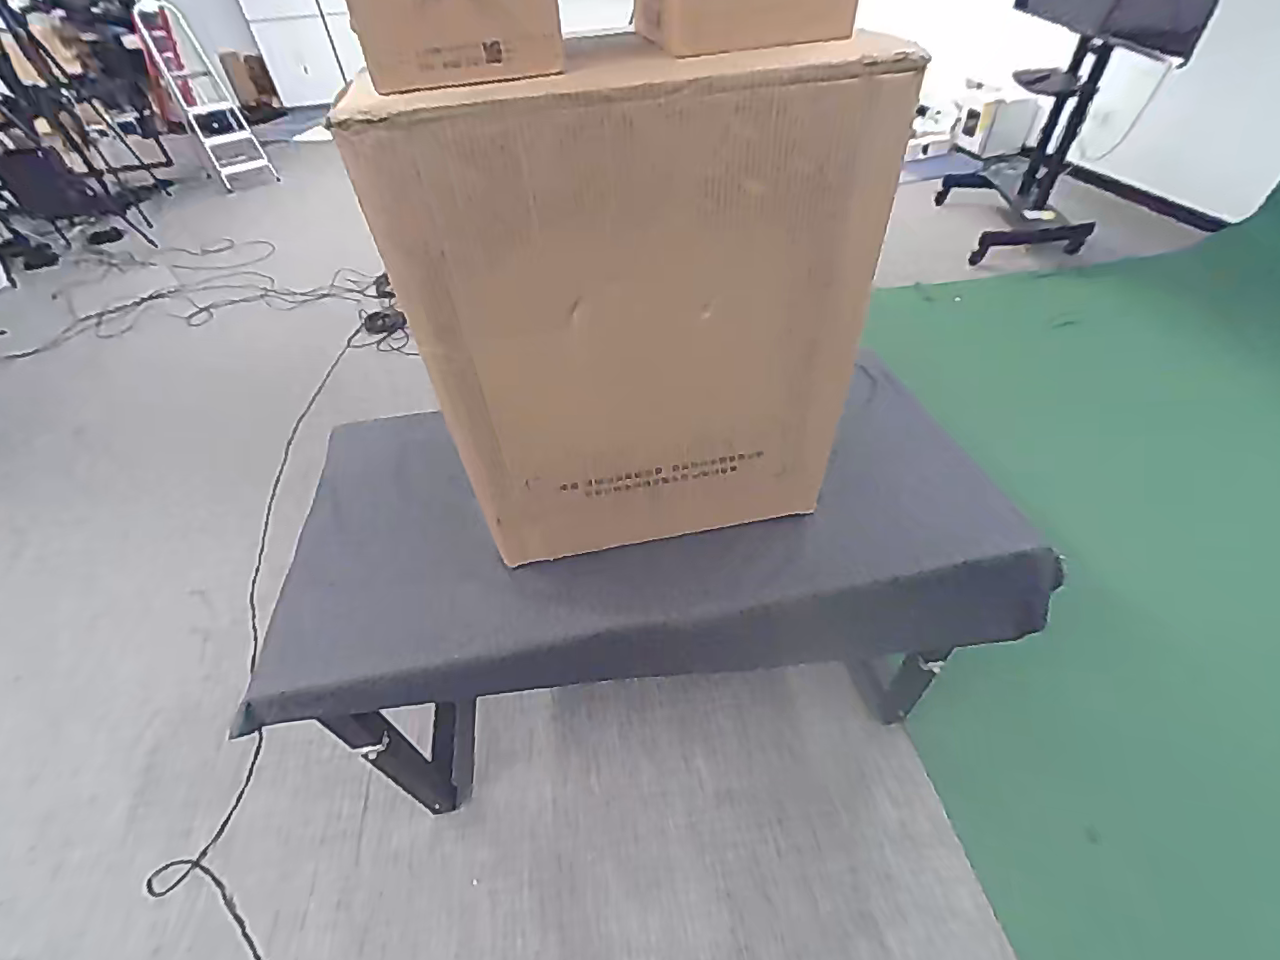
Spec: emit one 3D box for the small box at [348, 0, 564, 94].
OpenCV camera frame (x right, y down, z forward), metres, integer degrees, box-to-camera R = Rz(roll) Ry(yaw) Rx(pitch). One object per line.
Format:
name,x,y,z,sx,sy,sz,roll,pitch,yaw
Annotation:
small box,-0.166,-0.453,0.469,0.168,0.176,0.179,-11,48,-7

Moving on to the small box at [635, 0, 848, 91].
small box,0.093,-0.494,0.515,0.179,0.176,0.168,-12,47,-8
